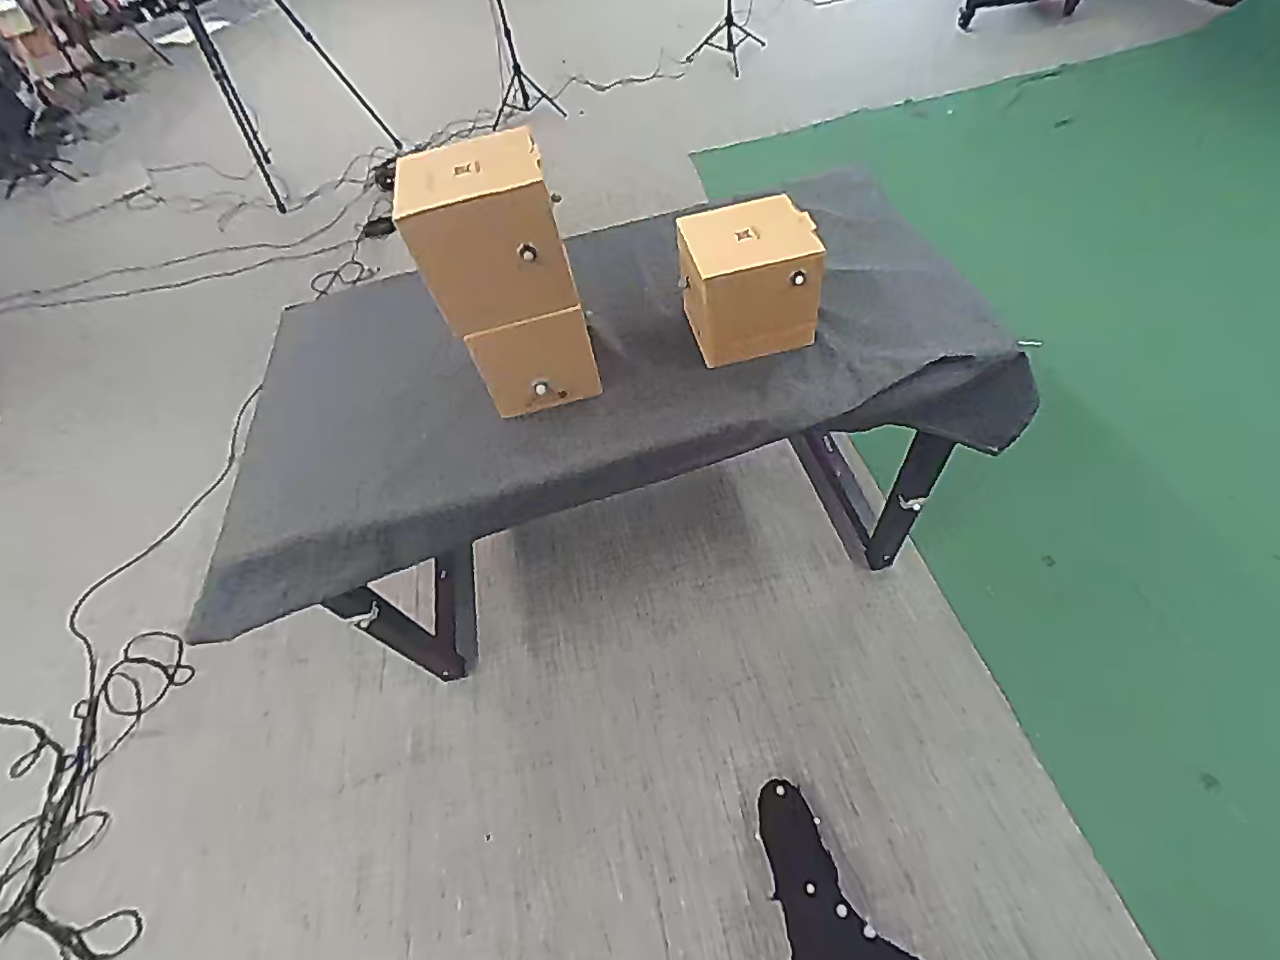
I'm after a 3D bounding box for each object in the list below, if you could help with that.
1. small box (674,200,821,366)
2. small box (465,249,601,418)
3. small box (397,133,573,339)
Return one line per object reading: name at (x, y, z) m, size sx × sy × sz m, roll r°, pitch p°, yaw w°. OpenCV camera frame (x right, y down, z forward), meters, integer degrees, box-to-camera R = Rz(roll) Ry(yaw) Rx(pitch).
small box at (0.162, -0.301, 0.848) m, size 0.179 × 0.176 × 0.168 m, roll -13°, pitch 53°, yaw -1°
small box at (-0.167, -0.226, 0.847) m, size 0.168 × 0.176 × 0.179 m, roll -15°, pitch 54°, yaw -1°
small box at (-0.195, -0.317, 0.715) m, size 0.179 × 0.176 × 0.168 m, roll -16°, pitch 53°, yaw -1°
